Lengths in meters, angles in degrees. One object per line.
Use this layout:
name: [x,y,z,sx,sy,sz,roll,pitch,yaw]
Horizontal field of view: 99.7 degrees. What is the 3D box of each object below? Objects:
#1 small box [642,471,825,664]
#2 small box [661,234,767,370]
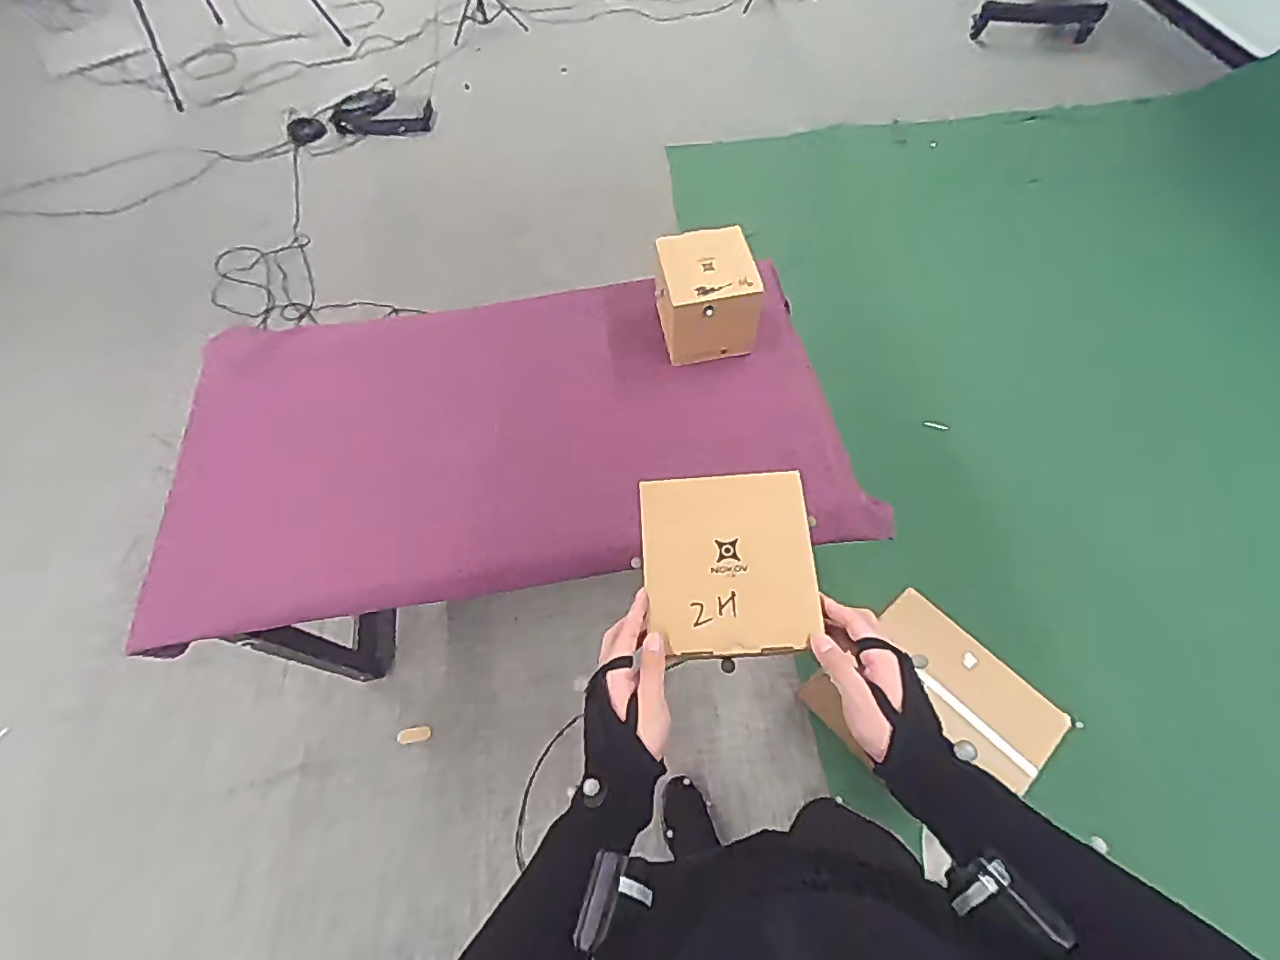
small box: [0.091,0.105,0.599,0.168,0.176,0.179,-4,69,4]
small box: [0.134,-0.343,1.054,0.168,0.176,0.179,-10,62,-1]
